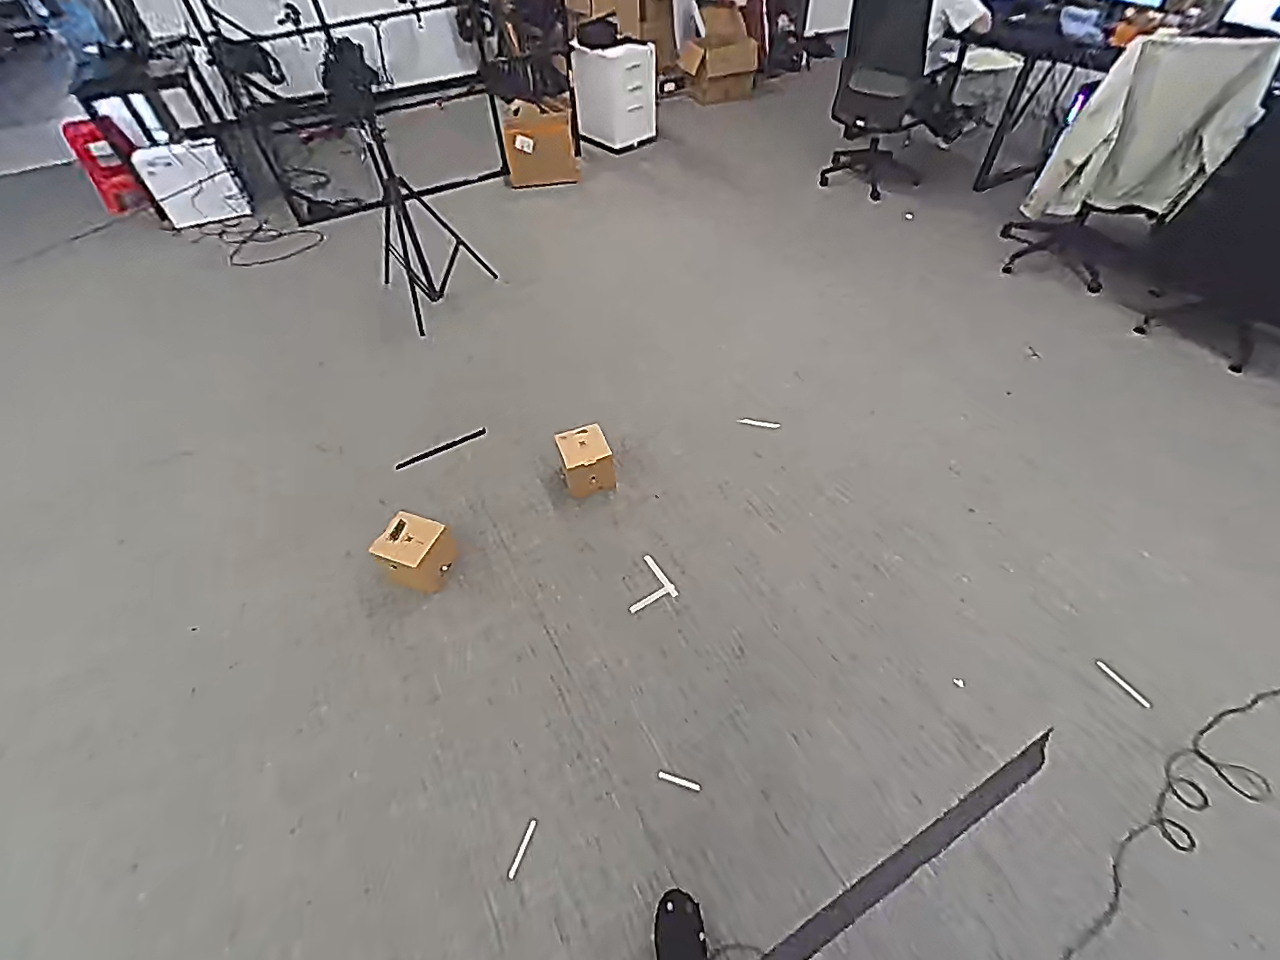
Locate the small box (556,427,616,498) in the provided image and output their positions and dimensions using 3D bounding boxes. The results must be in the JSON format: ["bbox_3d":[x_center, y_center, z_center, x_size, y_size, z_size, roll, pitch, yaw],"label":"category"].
[{"bbox_3d":[-0.191,-0.056,1.945,0.168,0.176,0.179,-17,51,-12],"label":"small box"}]

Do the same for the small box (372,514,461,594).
[{"bbox_3d":[-0.702,0.237,1.717,0.179,0.176,0.168,15,52,14],"label":"small box"}]
